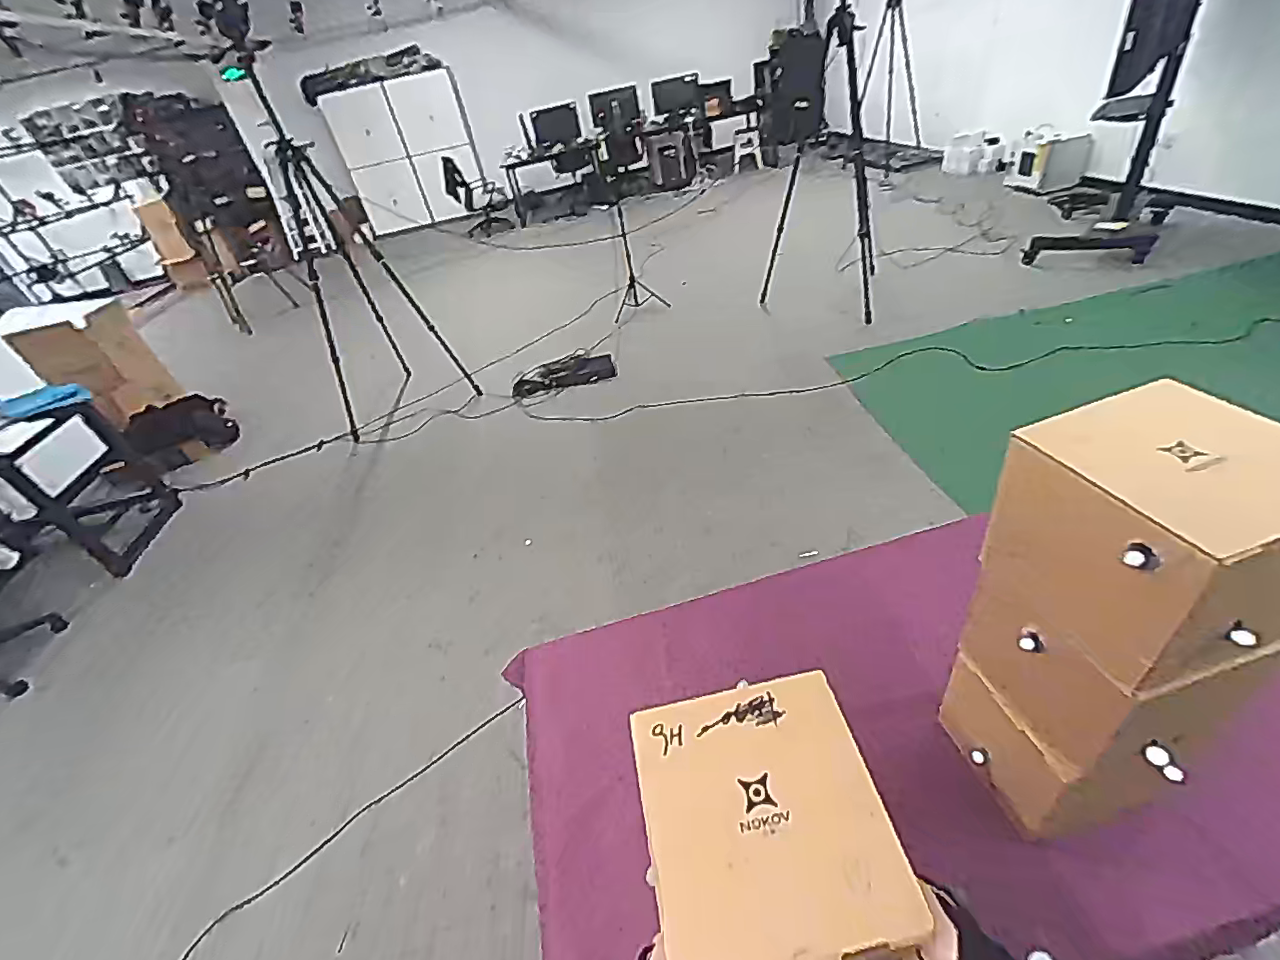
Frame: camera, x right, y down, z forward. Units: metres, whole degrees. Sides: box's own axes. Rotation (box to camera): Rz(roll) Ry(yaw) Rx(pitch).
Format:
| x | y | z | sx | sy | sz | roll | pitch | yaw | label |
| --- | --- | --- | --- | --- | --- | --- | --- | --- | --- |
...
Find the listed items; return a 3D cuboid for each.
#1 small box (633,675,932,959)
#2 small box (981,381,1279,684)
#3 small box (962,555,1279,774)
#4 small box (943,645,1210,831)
| x | y | z | sx | sy | sz | roll | pitch | yaw | label |
| --- | --- | --- | --- | --- | --- | --- | --- | --- | --- |
| 0.098 | 0.291 | 0.438 | 0.168 | 0.176 | 0.179 | -13 | 44 | -1 | small box |
| 0.443 | 0.042 | 0.477 | 0.168 | 0.176 | 0.179 | -19 | 39 | -5 | small box |
| 0.479 | 0.169 | 0.571 | 0.168 | 0.176 | 0.179 | -17 | 38 | -4 | small box |
| 0.511 | 0.296 | 0.669 | 0.179 | 0.176 | 0.168 | -16 | 37 | -3 | small box |
